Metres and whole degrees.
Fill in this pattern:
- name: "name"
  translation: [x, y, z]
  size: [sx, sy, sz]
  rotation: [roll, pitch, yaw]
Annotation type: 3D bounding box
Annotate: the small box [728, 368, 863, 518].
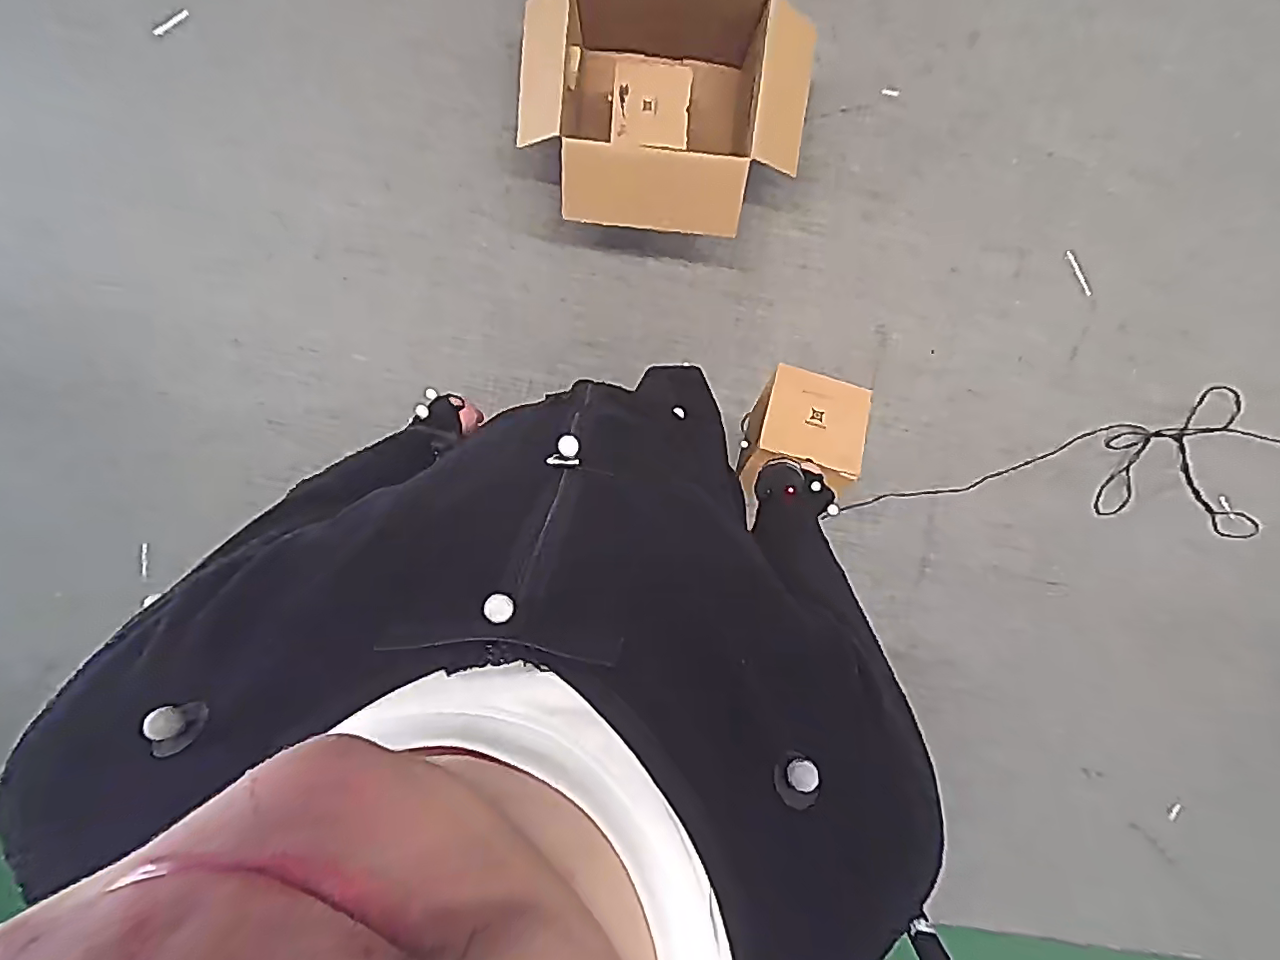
- name: "small box"
  translation: [0.263, -0.056, 0.941]
  size: [0.168, 0.176, 0.179]
  rotation: [19, 62, 0]
